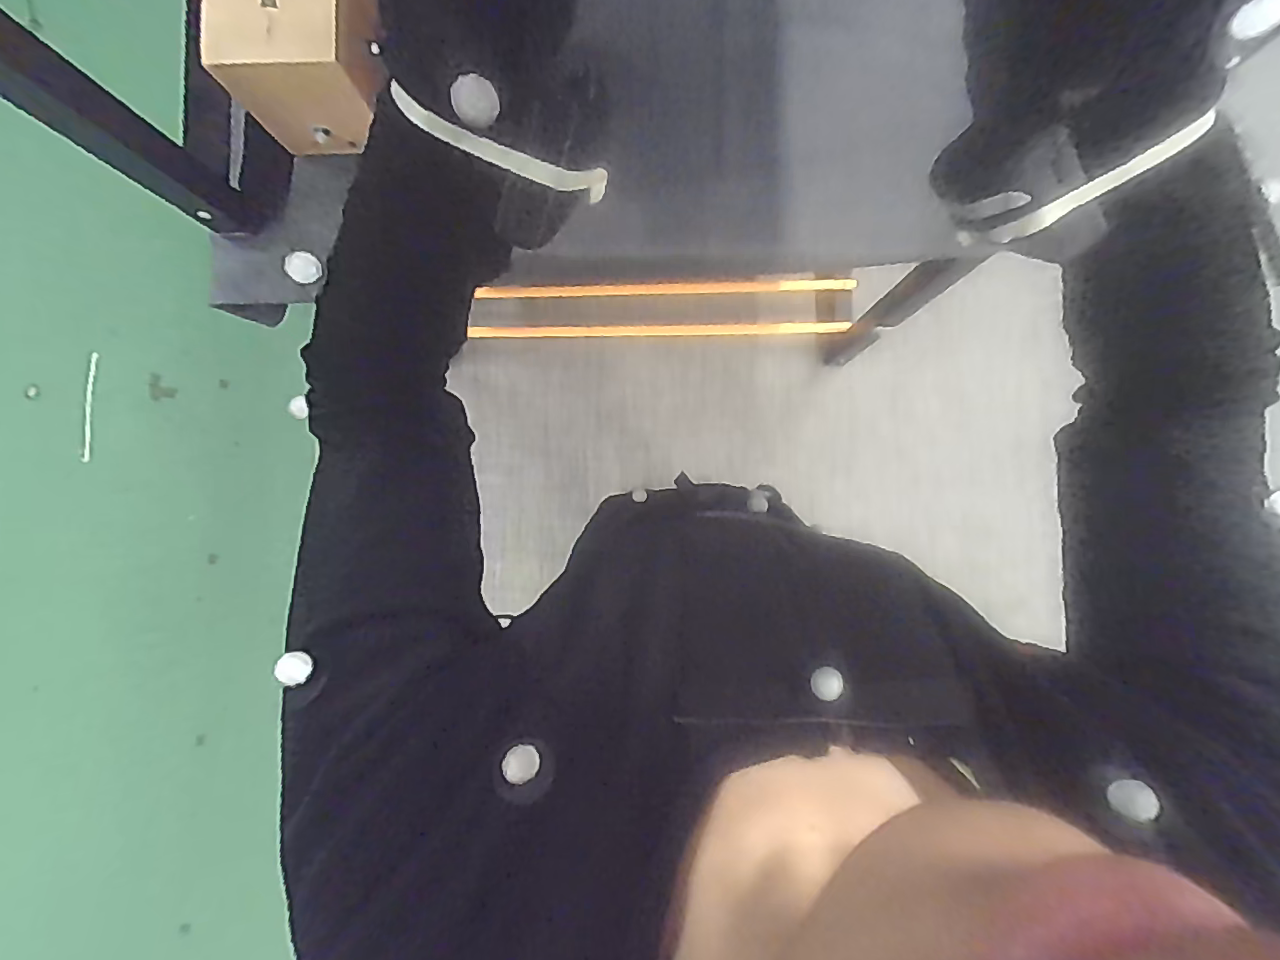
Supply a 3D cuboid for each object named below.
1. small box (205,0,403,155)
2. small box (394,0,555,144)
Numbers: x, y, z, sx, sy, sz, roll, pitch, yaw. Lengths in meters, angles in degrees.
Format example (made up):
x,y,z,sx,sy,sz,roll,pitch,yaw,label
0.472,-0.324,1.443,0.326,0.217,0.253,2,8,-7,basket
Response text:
x,y,z,sx,sy,sz,roll,pitch,yaw,label
-0.439,-0.579,0.733,0.168,0.176,0.179,-1,87,1,small box
-0.212,-0.588,0.732,0.168,0.176,0.179,1,86,1,small box
